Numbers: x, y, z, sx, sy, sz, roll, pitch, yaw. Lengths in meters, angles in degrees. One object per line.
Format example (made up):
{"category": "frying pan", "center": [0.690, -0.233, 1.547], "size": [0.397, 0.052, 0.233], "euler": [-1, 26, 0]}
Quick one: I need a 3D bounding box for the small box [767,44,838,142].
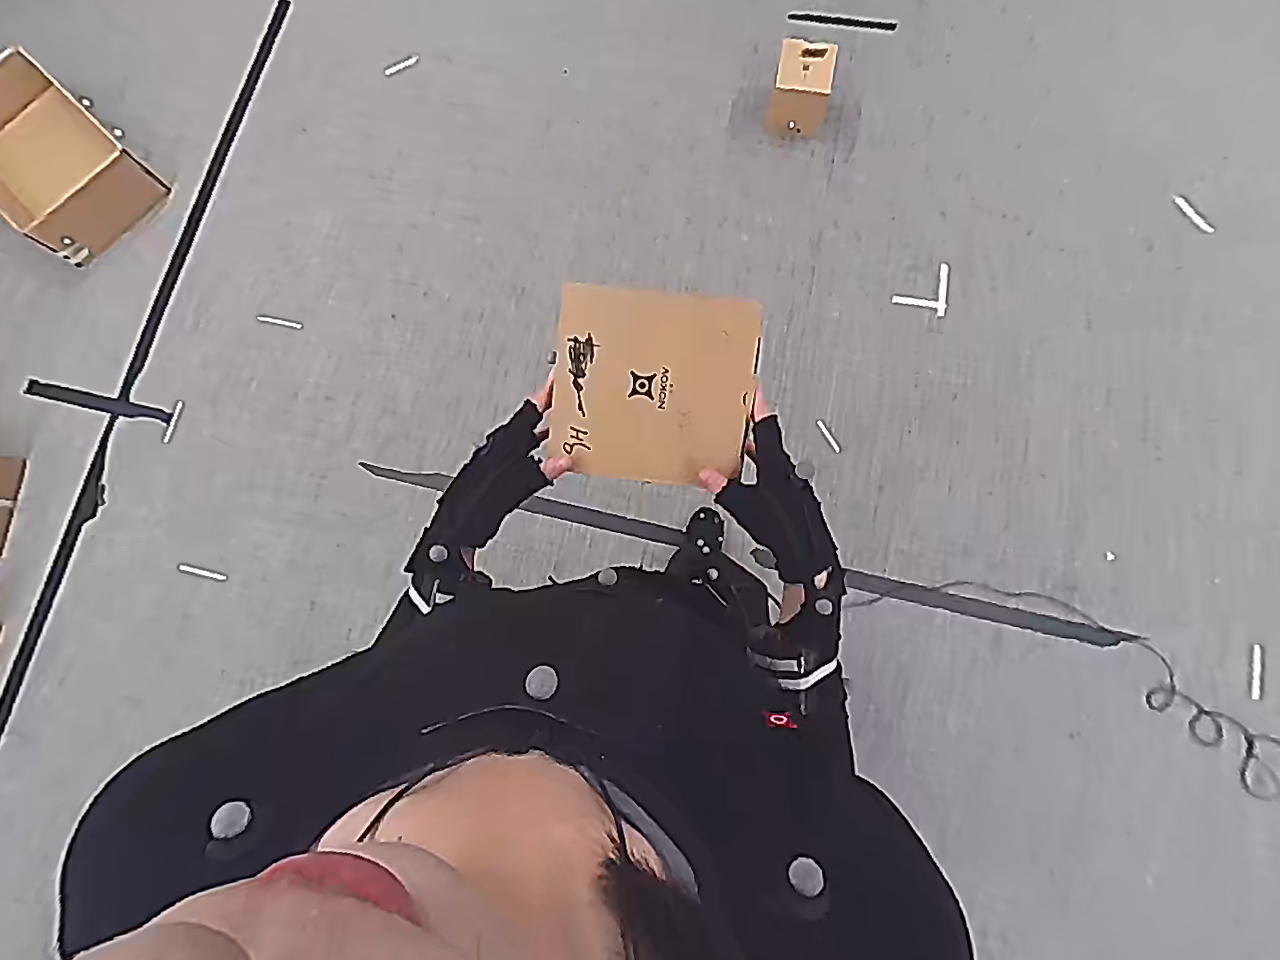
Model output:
{"category": "small box", "center": [0.505, -1.213, 1.699], "size": [0.168, 0.176, 0.179], "euler": [11, 81, 5]}

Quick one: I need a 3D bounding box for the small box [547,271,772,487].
{"category": "small box", "center": [0.018, -0.094, 0.540], "size": [0.179, 0.176, 0.168], "euler": [8, 97, 3]}
